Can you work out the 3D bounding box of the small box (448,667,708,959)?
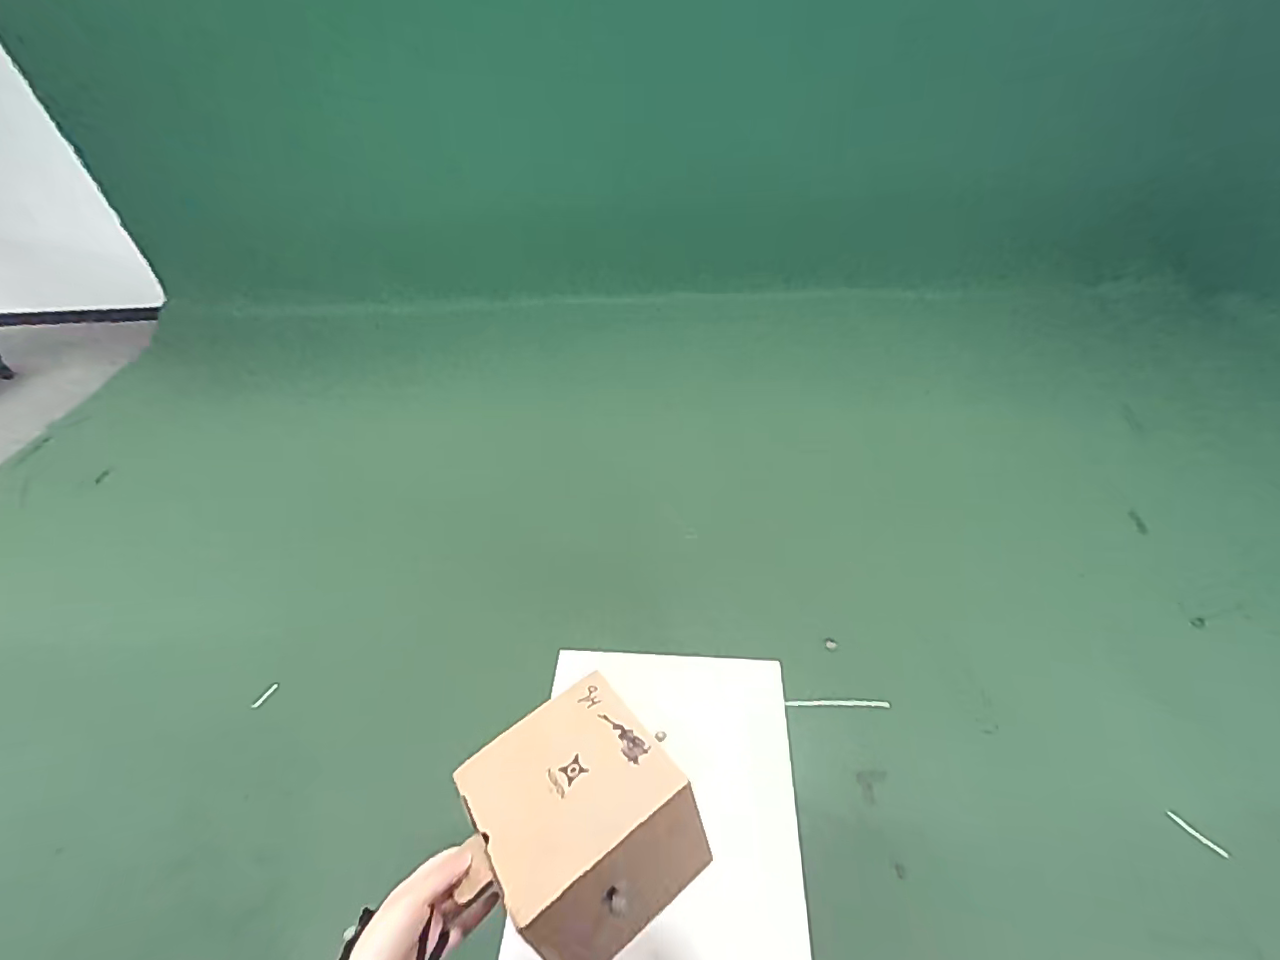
[{"bbox_3d":[-0.054,0.334,0.534,0.179,0.176,0.168,-31,37,-22],"label":"small box"}]
